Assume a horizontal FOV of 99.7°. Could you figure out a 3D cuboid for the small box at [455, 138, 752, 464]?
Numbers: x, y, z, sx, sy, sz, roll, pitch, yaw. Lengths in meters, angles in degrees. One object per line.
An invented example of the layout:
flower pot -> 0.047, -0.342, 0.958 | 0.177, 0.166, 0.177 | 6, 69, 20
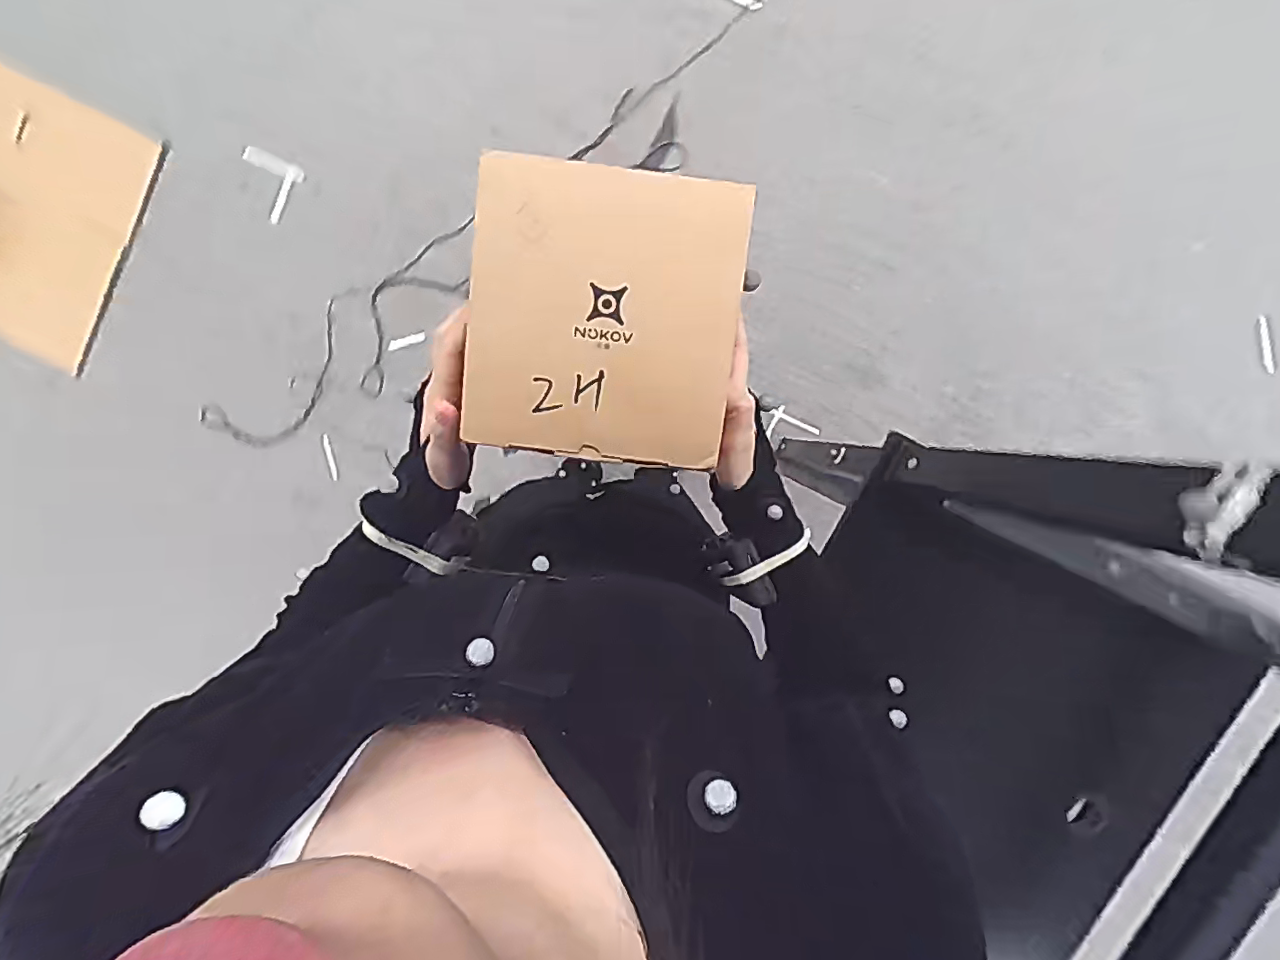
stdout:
small box -> -0.026, -0.114, 0.405 | 0.168, 0.176, 0.179 | 6, 98, -2
